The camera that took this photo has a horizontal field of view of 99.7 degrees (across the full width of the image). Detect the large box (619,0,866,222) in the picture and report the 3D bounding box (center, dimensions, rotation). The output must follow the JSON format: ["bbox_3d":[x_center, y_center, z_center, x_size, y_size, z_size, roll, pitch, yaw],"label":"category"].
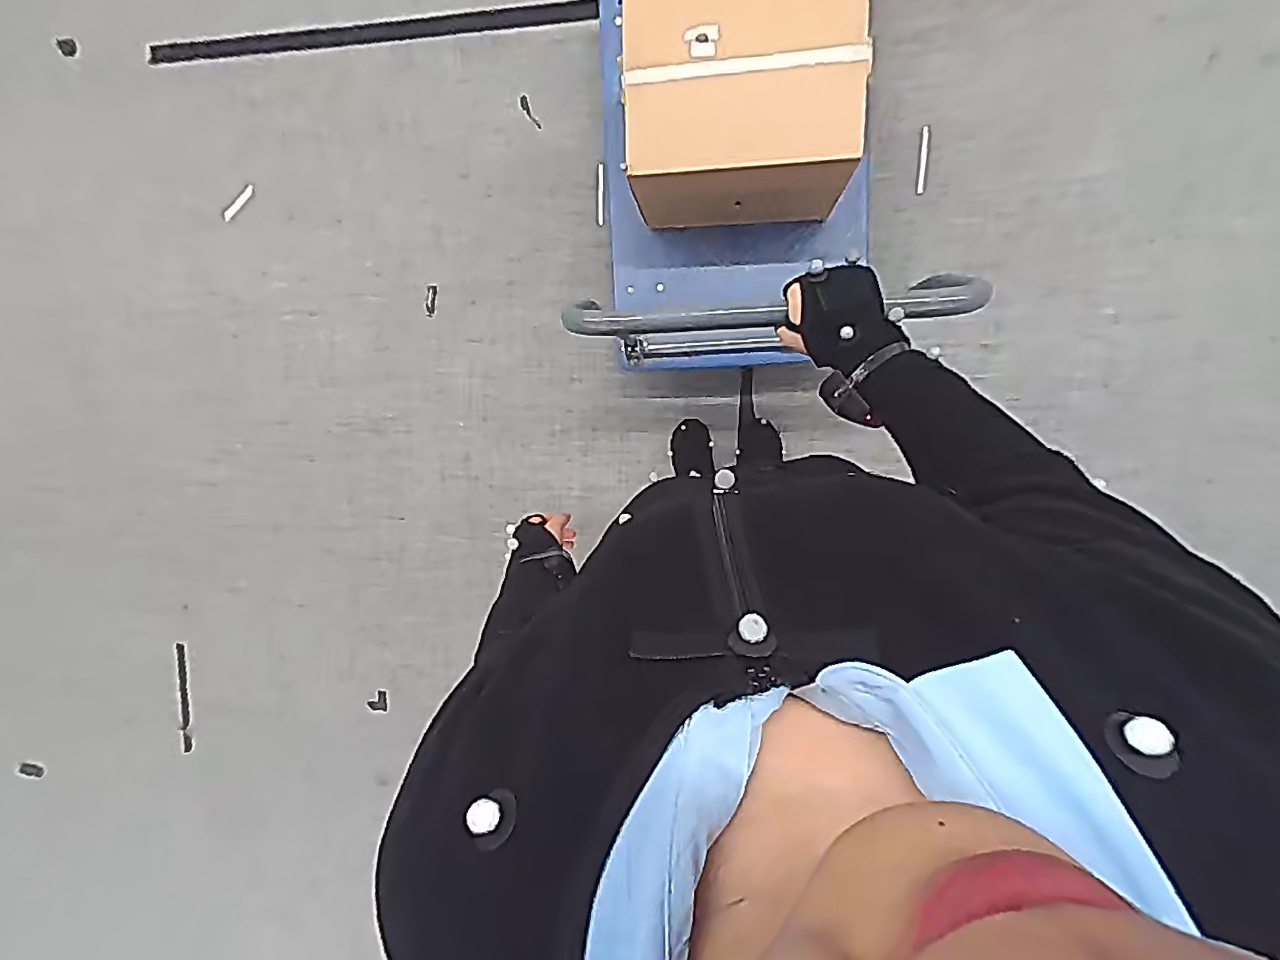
[{"bbox_3d":[0.190,-0.716,1.040,0.408,0.320,0.320,0,97,9],"label":"large box"}]
